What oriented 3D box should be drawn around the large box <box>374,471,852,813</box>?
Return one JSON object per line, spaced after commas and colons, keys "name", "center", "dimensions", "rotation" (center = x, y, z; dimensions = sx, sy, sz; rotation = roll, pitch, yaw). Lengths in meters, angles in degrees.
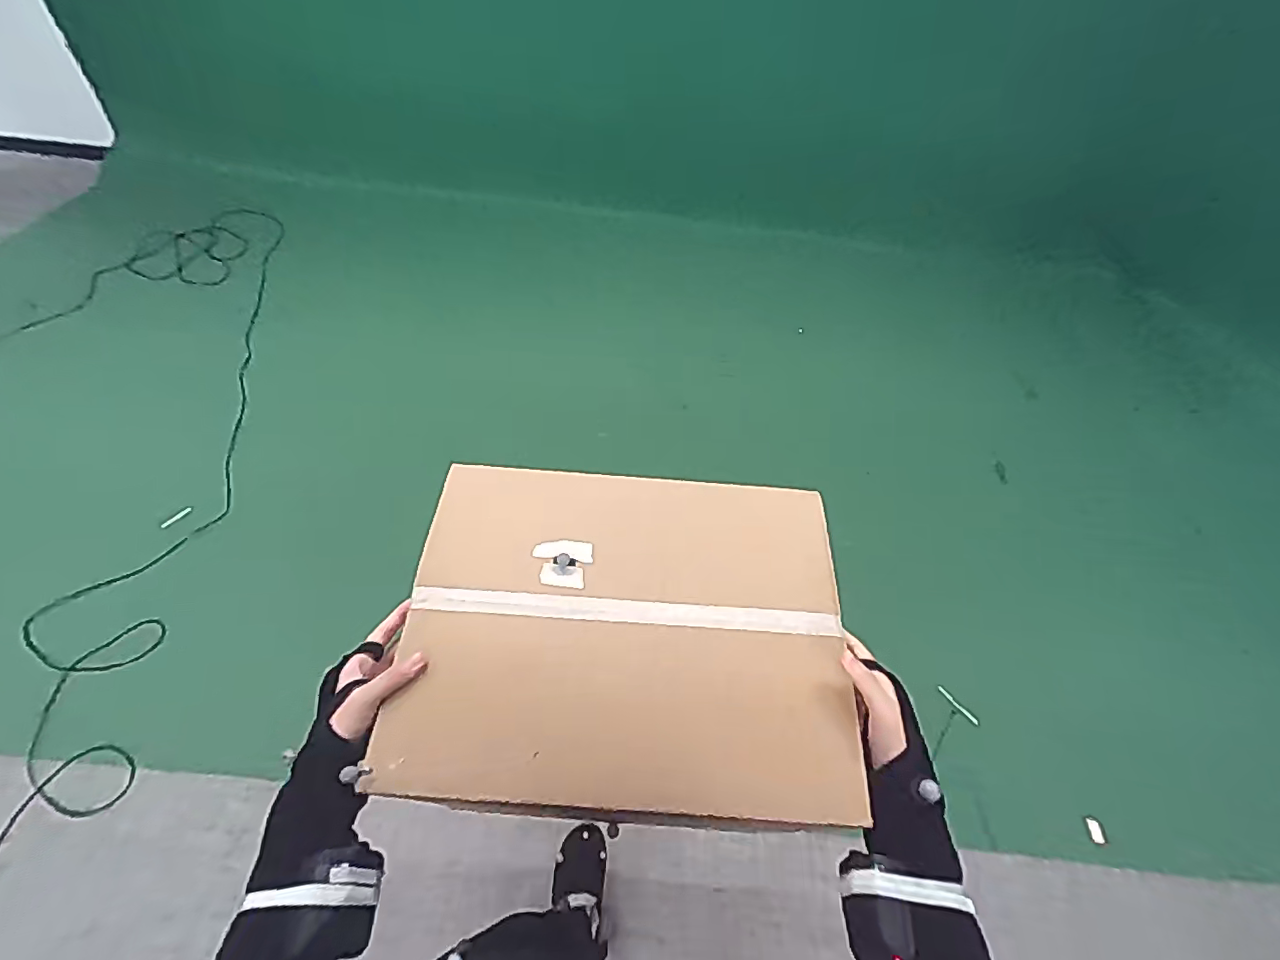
{"name": "large box", "center": [-0.018, 0.208, 0.648], "dimensions": [0.408, 0.320, 0.320], "rotation": [4, 57, 0]}
